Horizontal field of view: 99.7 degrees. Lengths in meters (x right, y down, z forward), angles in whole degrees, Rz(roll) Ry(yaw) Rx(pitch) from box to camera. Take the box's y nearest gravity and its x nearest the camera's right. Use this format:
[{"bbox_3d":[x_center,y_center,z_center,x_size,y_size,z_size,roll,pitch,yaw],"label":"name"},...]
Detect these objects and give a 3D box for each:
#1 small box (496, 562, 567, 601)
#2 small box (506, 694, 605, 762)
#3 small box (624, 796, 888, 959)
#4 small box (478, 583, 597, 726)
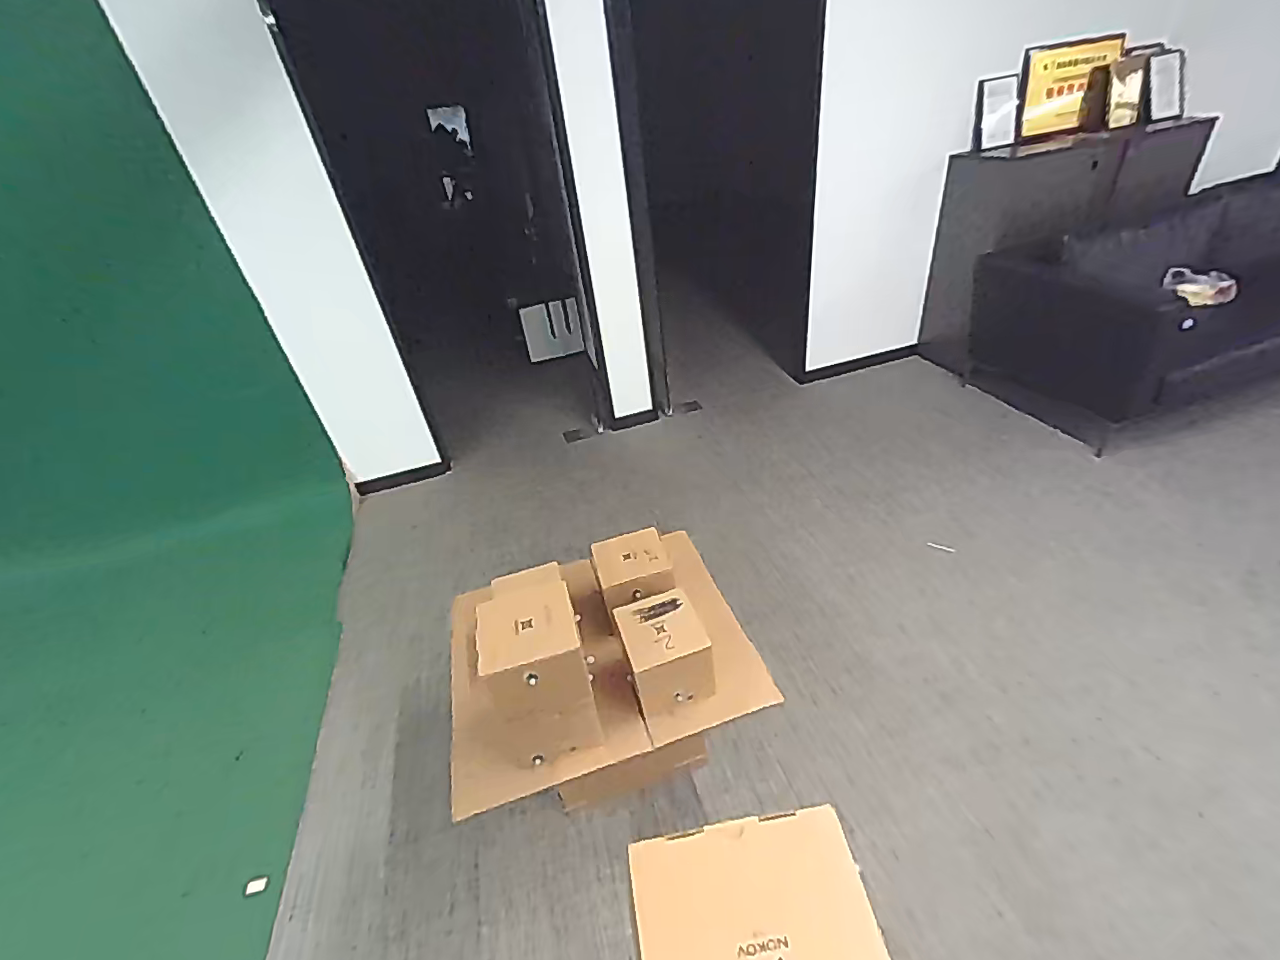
[{"bbox_3d":[-0.238,0.333,1.299,0.168,0.176,0.179,-18,35,-9],"label":"small box"},{"bbox_3d":[-0.178,0.452,1.119,0.168,0.176,0.179,-15,35,-8],"label":"small box"},{"bbox_3d":[0.084,0.376,0.414,0.168,0.176,0.179,-8,44,-6],"label":"small box"},{"bbox_3d":[-0.191,0.328,1.013,0.179,0.176,0.168,-15,37,-8],"label":"small box"}]
